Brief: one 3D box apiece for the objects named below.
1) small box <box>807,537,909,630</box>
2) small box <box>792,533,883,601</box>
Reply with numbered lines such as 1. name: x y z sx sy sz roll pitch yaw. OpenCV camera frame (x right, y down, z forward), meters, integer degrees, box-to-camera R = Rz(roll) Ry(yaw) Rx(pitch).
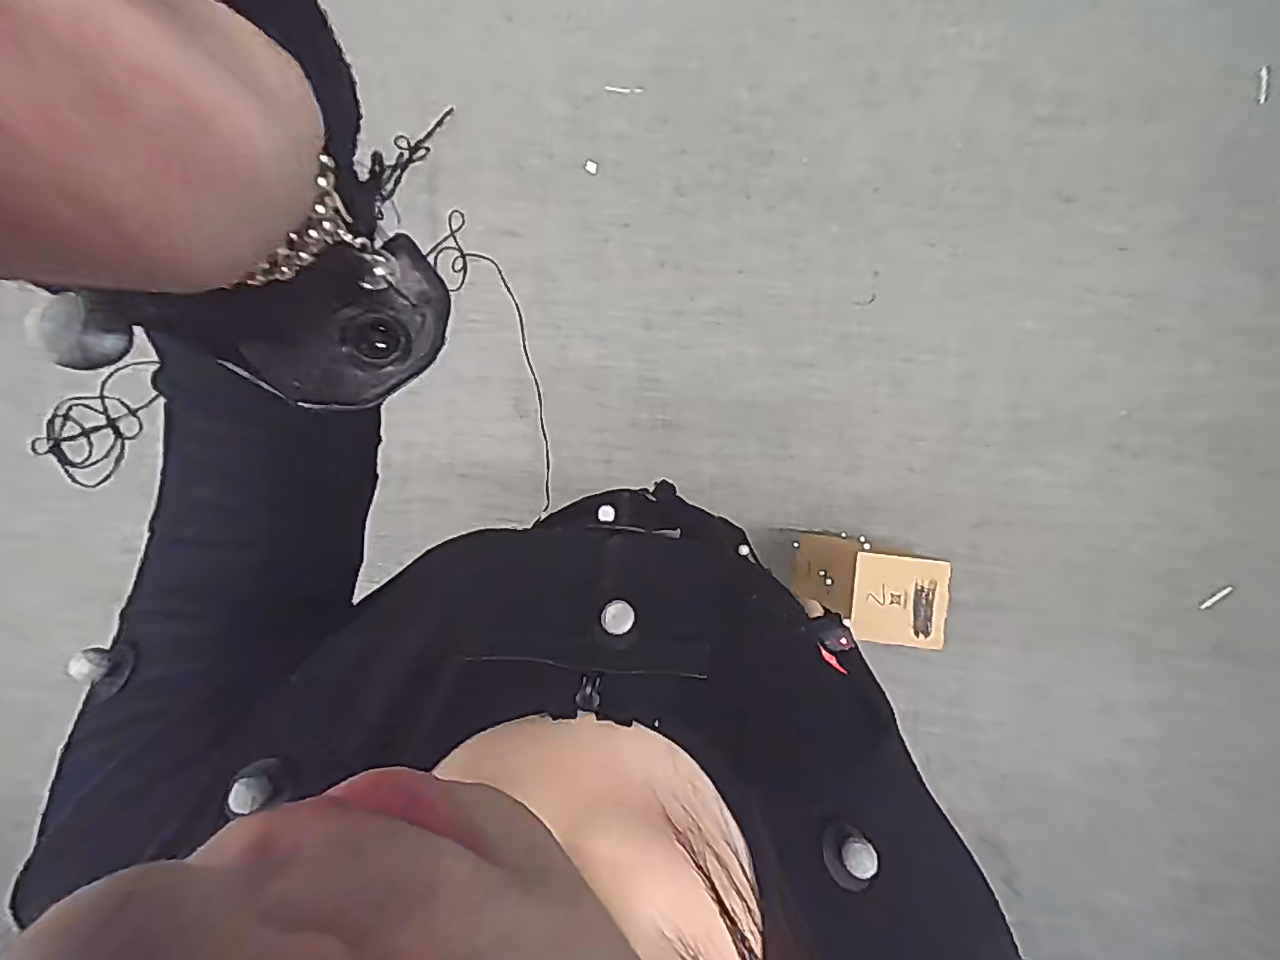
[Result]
1. small box: 0.496 0.231 1.249 0.168 0.176 0.179 7 89 3
2. small box: 0.507 0.233 1.413 0.179 0.176 0.168 6 89 1
